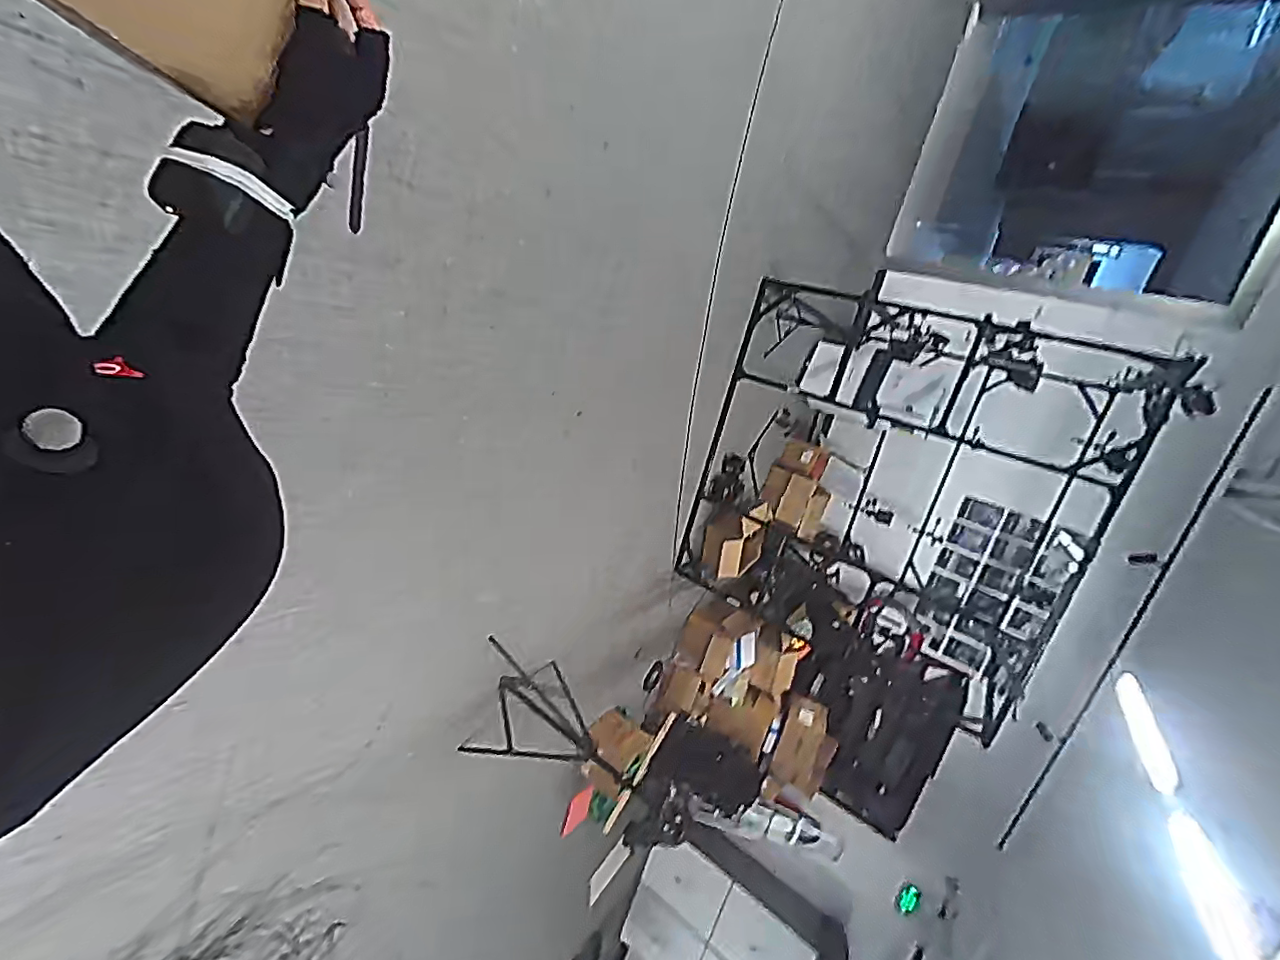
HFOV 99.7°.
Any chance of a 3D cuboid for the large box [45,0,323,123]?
[{"bbox_3d":[-0.423,-0.520,0.313,0.320,0.320,0.408,-56,152,6],"label":"large box"}]
